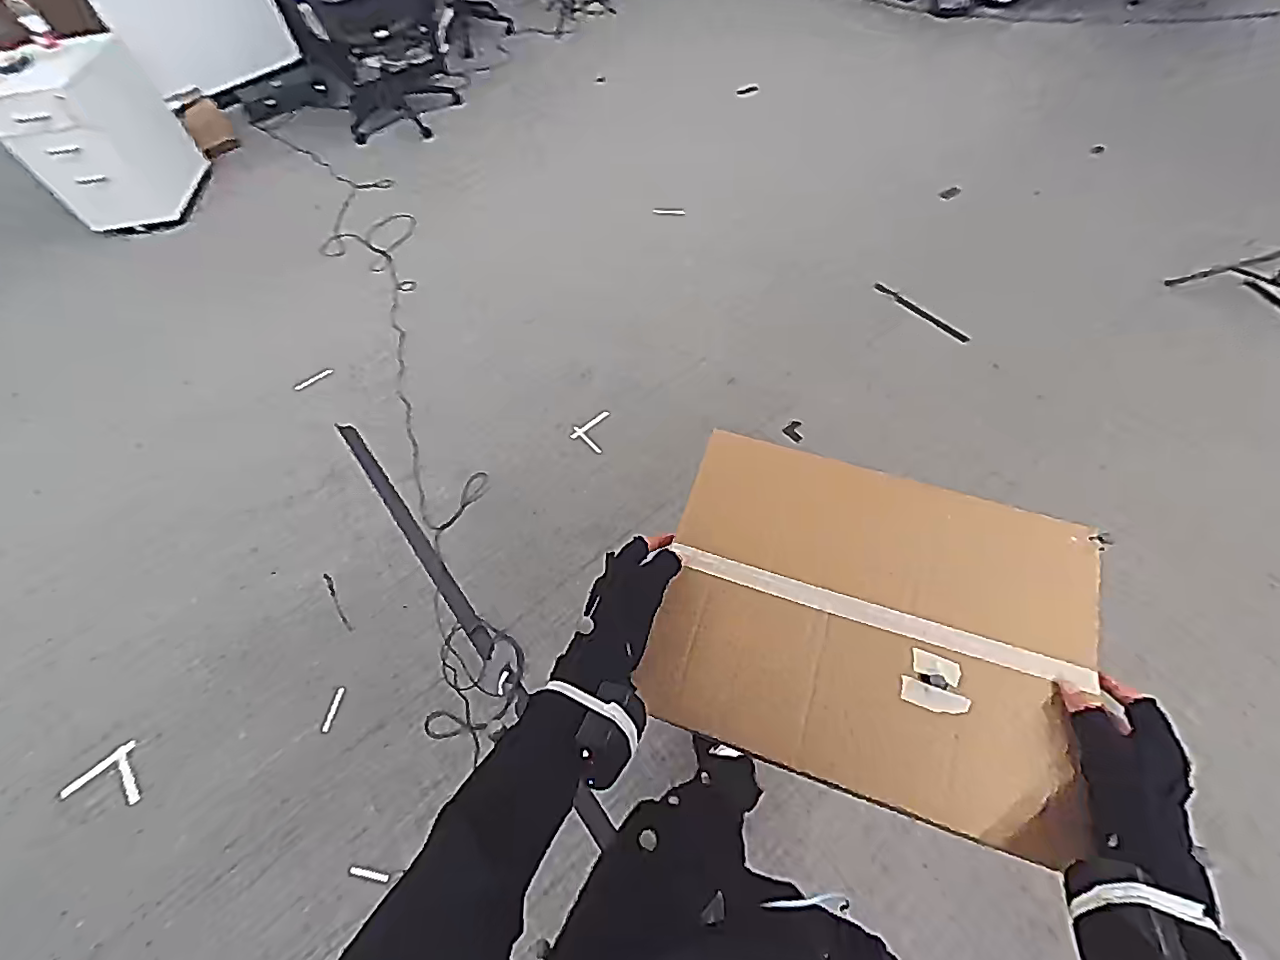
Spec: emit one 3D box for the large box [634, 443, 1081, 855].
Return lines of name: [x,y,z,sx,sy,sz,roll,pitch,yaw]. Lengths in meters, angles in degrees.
large box: [0.234,0.197,0.683,0.408,0.320,0.320,16,69,11]
